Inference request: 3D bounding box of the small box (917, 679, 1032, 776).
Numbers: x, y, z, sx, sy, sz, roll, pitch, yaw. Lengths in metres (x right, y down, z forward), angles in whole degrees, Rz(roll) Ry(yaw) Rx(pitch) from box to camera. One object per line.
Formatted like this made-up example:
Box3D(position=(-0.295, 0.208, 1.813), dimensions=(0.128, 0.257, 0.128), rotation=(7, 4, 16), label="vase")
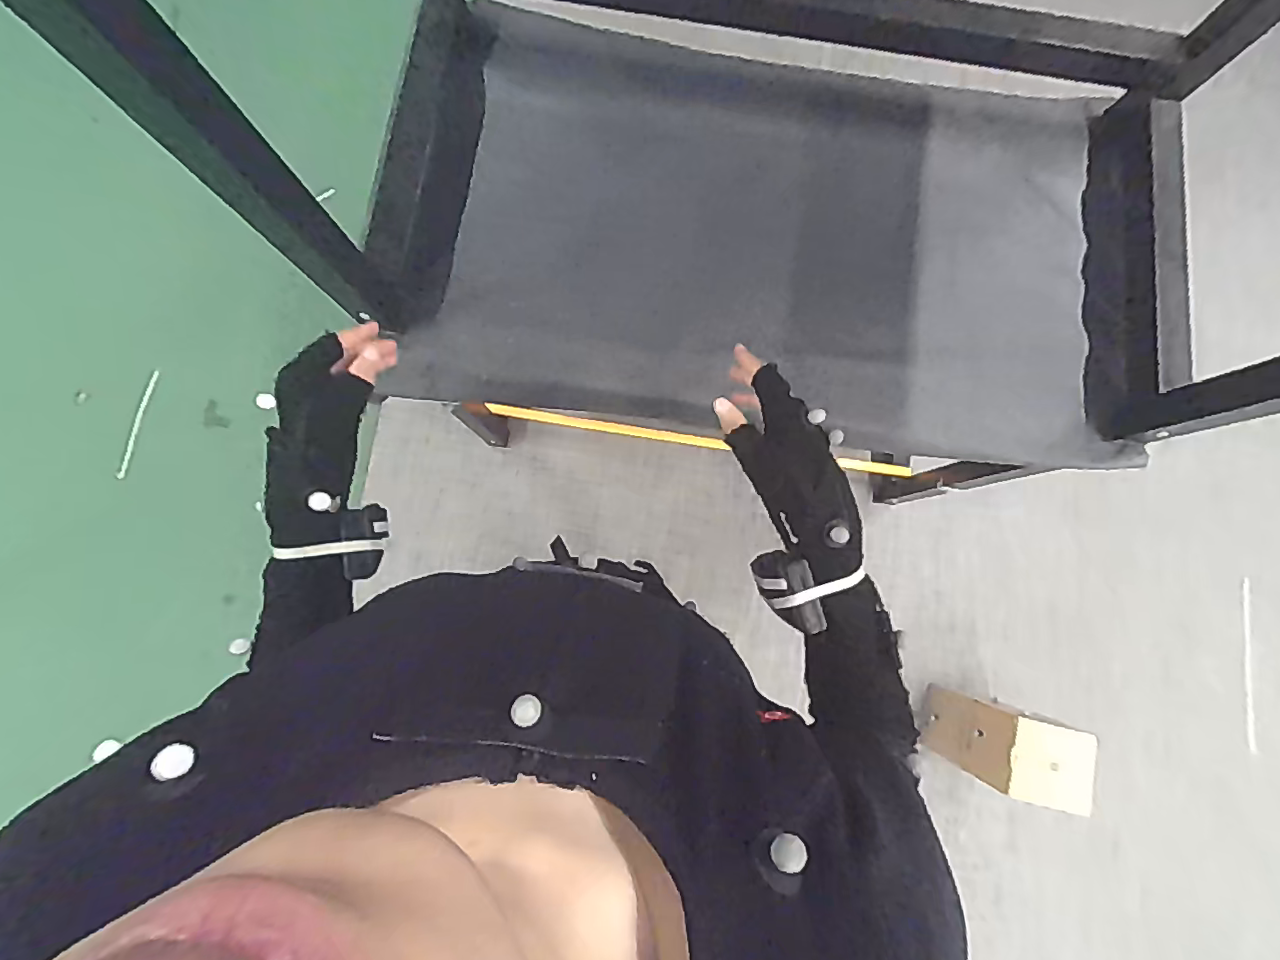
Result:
Box3D(position=(0.850, 0.624, 1.386), dimensions=(0.179, 0.176, 0.168), rotation=(14, 81, 1), label="small box")
